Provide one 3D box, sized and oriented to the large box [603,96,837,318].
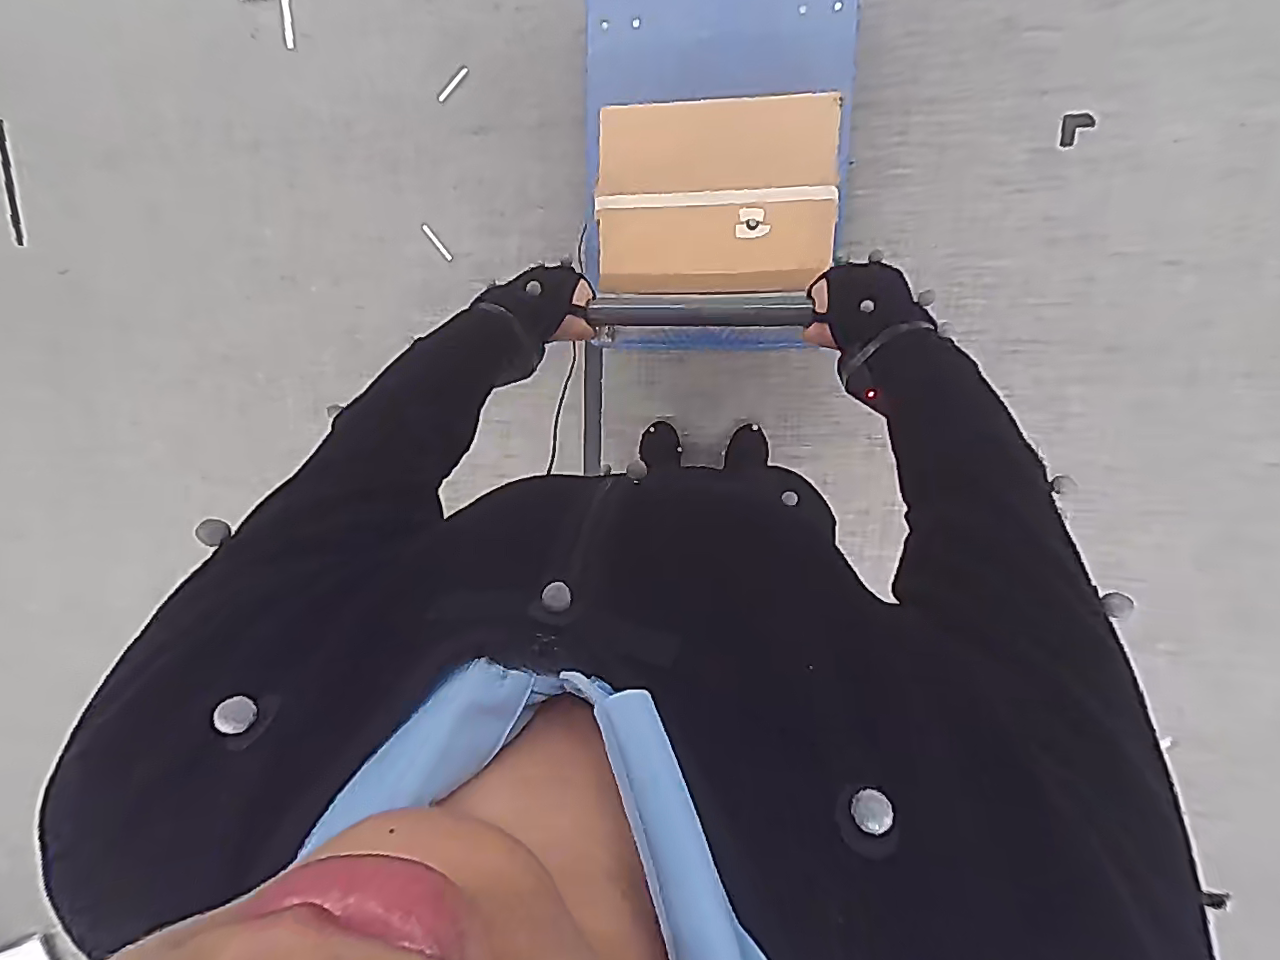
[{"bbox_3d":[0.150,-0.511,1.090,0.408,0.320,0.320,1,100,7],"label":"large box"}]
